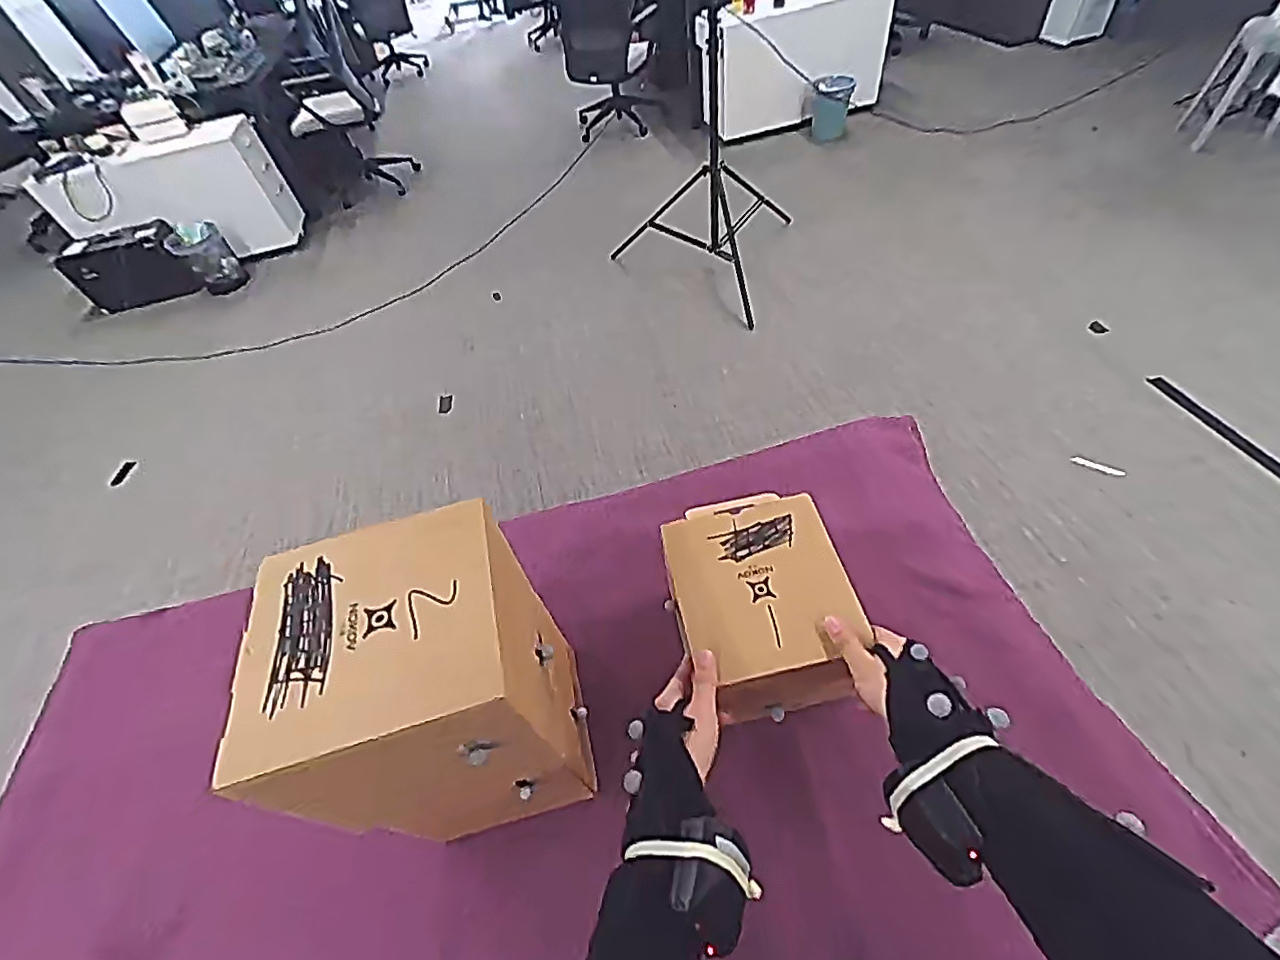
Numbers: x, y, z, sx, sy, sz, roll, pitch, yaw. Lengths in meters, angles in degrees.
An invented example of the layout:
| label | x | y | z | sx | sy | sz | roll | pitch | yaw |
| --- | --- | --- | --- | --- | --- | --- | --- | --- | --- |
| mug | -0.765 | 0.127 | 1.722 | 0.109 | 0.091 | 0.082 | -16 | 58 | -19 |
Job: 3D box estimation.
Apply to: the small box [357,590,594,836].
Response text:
| label | x | y | z | sx | sy | sz | roll | pitch | yaw |
| --- | --- | --- | --- | --- | --- | --- | --- | --- | --- |
| small box | -0.159 | 0.245 | 0.560 | 0.179 | 0.176 | 0.168 | -15 | 50 | -4 |

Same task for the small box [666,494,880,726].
| label | x | y | z | sx | sy | sz | roll | pitch | yaw |
| --- | --- | --- | --- | --- | --- | --- | --- | --- | --- |
| small box | 0.127 | 0.145 | 0.588 | 0.168 | 0.176 | 0.179 | -12 | 54 | -1 |
